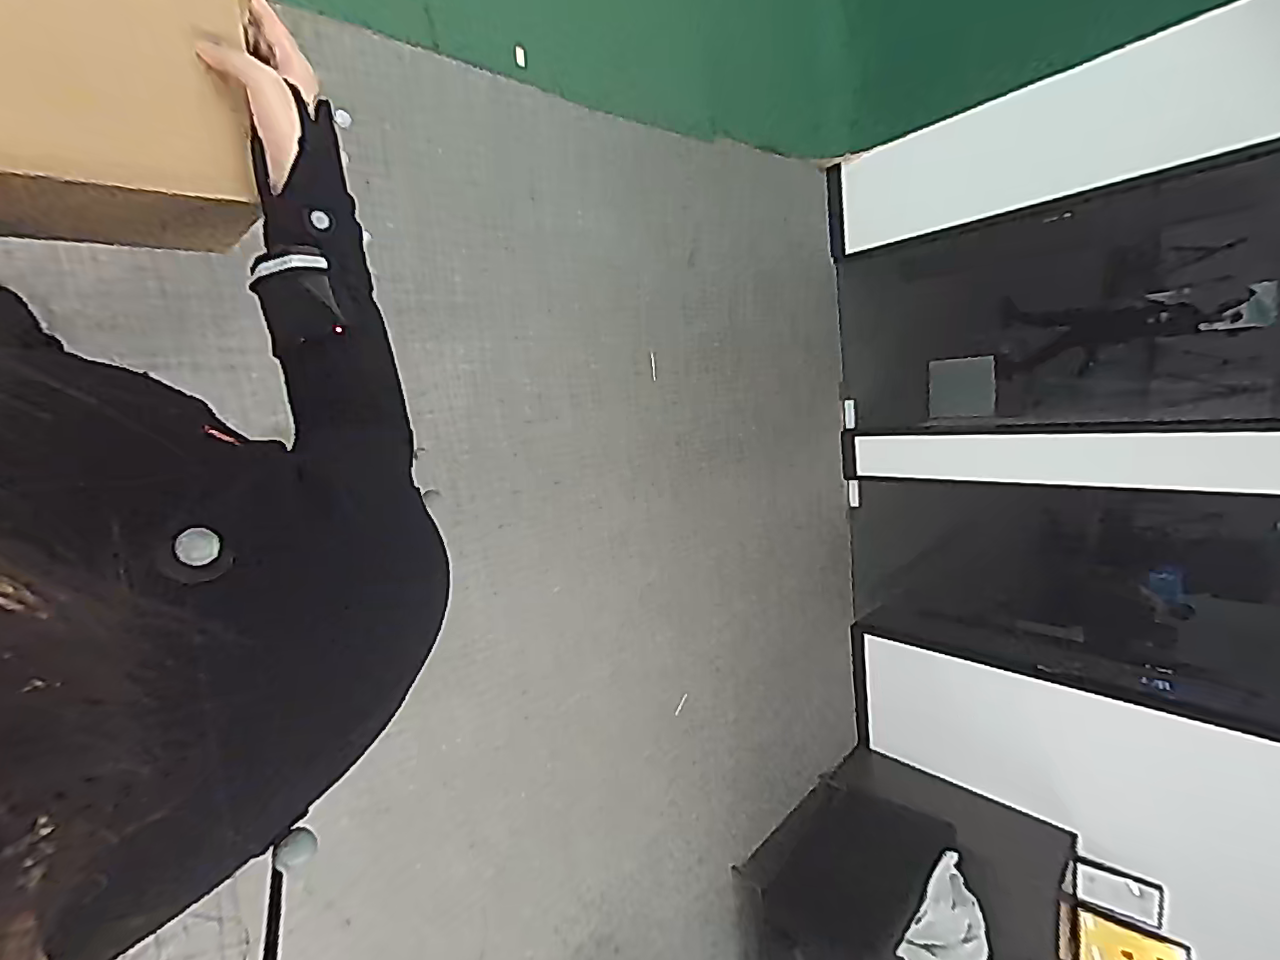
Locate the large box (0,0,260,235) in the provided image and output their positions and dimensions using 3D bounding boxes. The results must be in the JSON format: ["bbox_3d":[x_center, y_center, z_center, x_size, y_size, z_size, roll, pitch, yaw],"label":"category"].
[{"bbox_3d":[-0.553,-0.368,0.378,0.408,0.320,0.320,-14,109,-39],"label":"large box"}]
